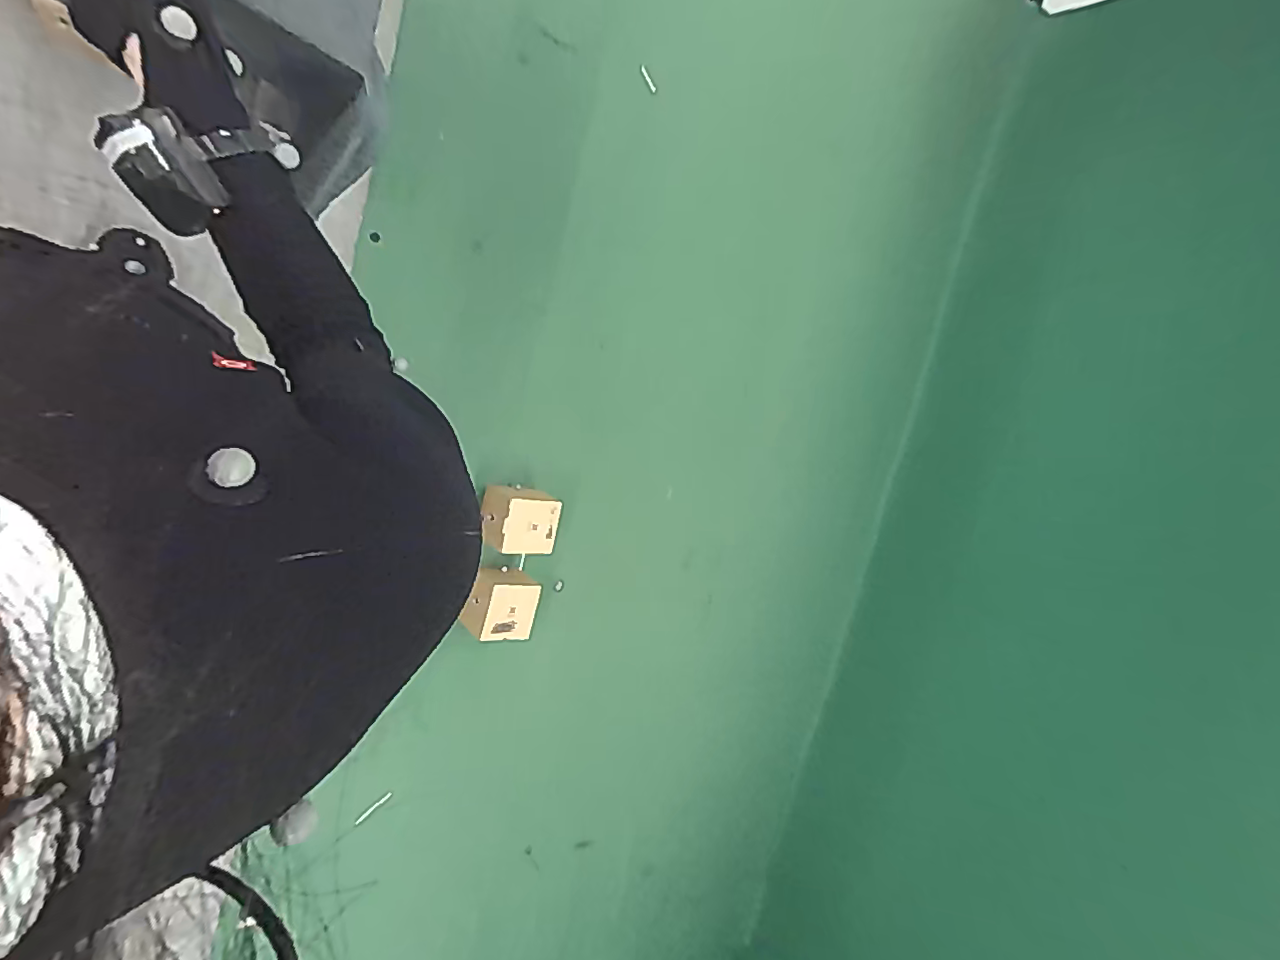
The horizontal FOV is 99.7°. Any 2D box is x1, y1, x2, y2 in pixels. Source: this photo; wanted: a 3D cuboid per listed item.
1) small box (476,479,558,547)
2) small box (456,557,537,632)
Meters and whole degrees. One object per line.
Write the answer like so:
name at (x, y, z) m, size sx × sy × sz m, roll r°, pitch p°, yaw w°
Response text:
small box at (-0.380, 0.098, 1.653) m, size 0.179 × 0.176 × 0.168 m, roll 9°, pitch 99°, yaw -41°
small box at (-0.451, 0.354, 1.678) m, size 0.168 × 0.176 × 0.179 m, roll 13°, pitch 95°, yaw -43°
